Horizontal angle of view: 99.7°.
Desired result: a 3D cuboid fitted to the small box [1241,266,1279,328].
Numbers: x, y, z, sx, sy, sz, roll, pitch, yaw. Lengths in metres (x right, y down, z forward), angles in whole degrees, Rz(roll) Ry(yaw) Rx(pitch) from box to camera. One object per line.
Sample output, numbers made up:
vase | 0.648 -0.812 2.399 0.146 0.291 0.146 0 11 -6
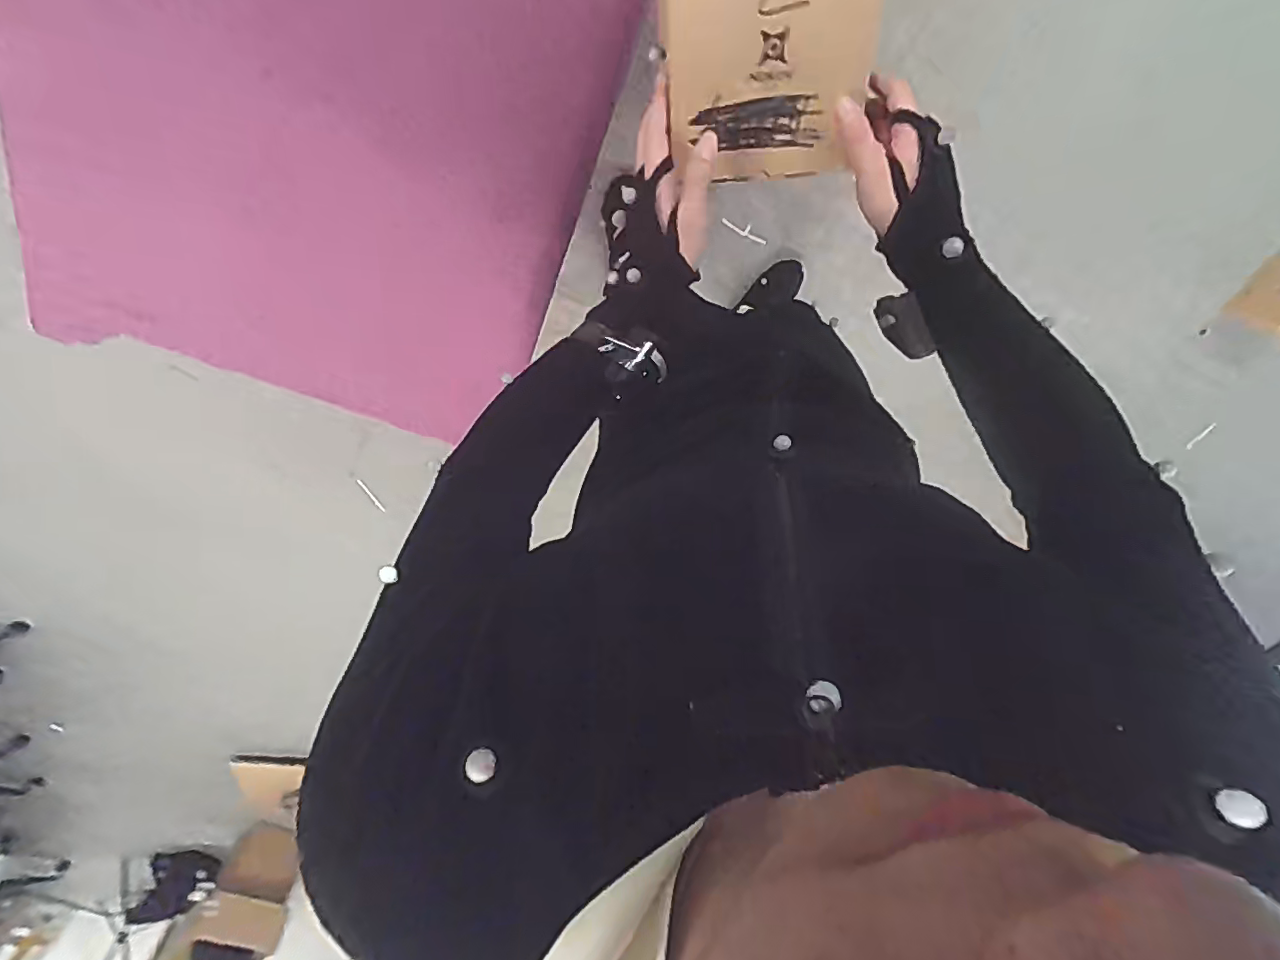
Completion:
small box | 1.806 -0.490 1.448 0.179 0.176 0.168 19 122 -15
